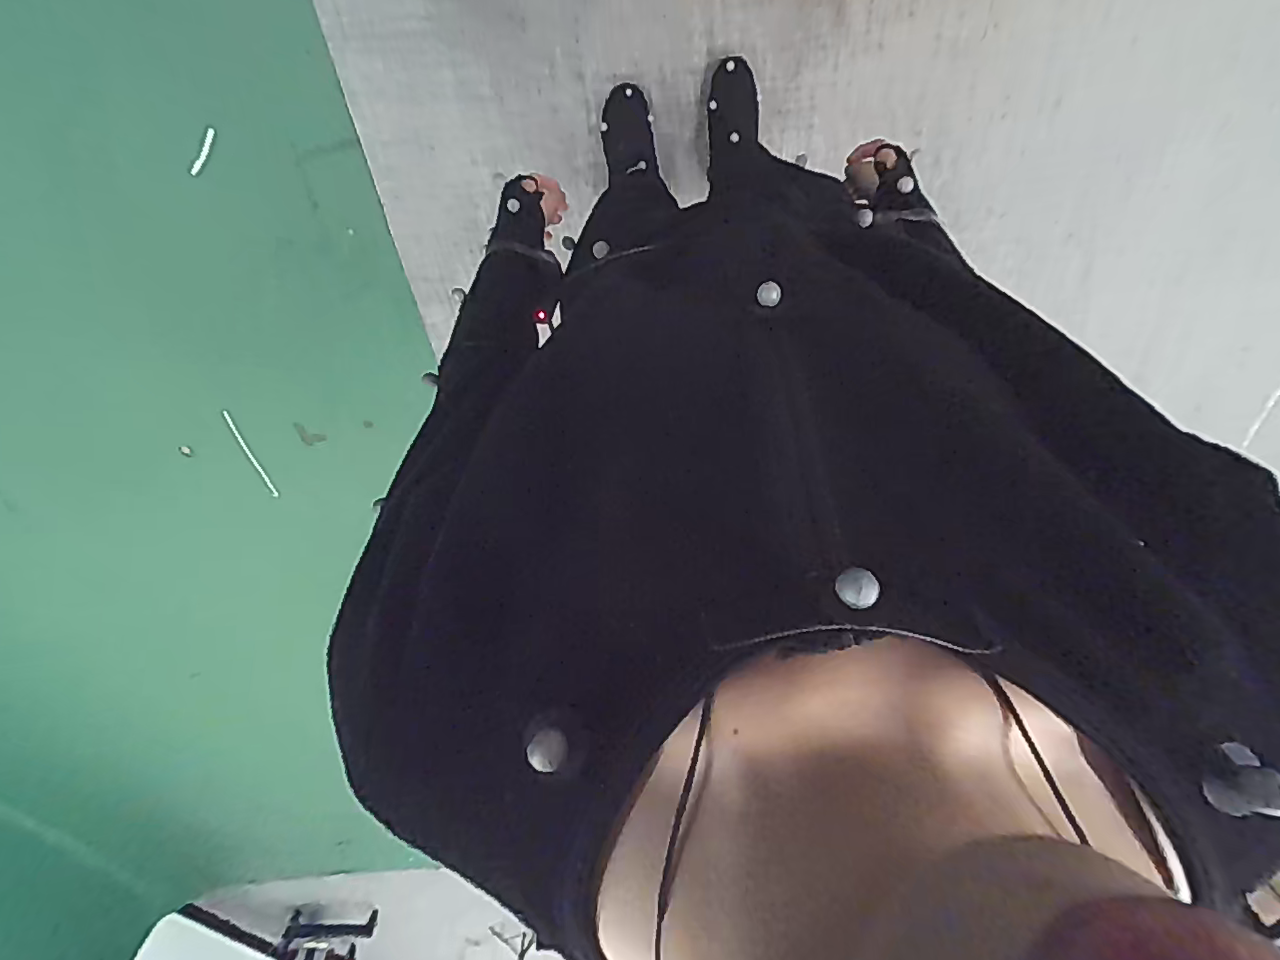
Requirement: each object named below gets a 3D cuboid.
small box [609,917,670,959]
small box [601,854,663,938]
[{"bbox_3d":[-0.003,1.374,1.540,0.168,0.176,0.179,0,126,-4],"label":"small box"},{"bbox_3d":[-0.022,1.294,1.682,0.179,0.176,0.168,-6,128,1],"label":"small box"}]
